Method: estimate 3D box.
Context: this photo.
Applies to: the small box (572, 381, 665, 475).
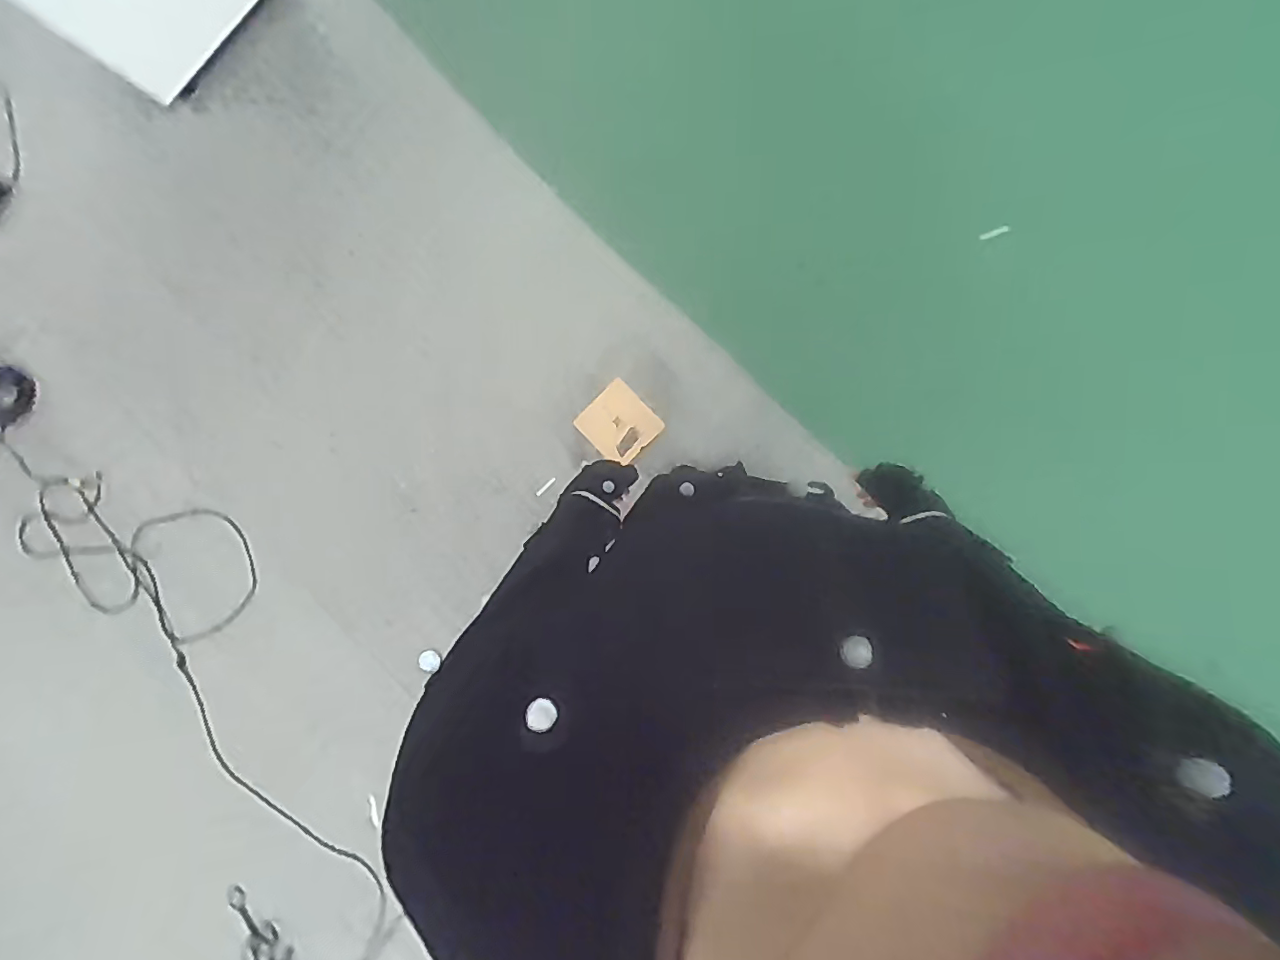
[{"bbox_3d":[-0.047,-0.132,1.409,0.168,0.176,0.179,-45,87,4],"label":"small box"}]
